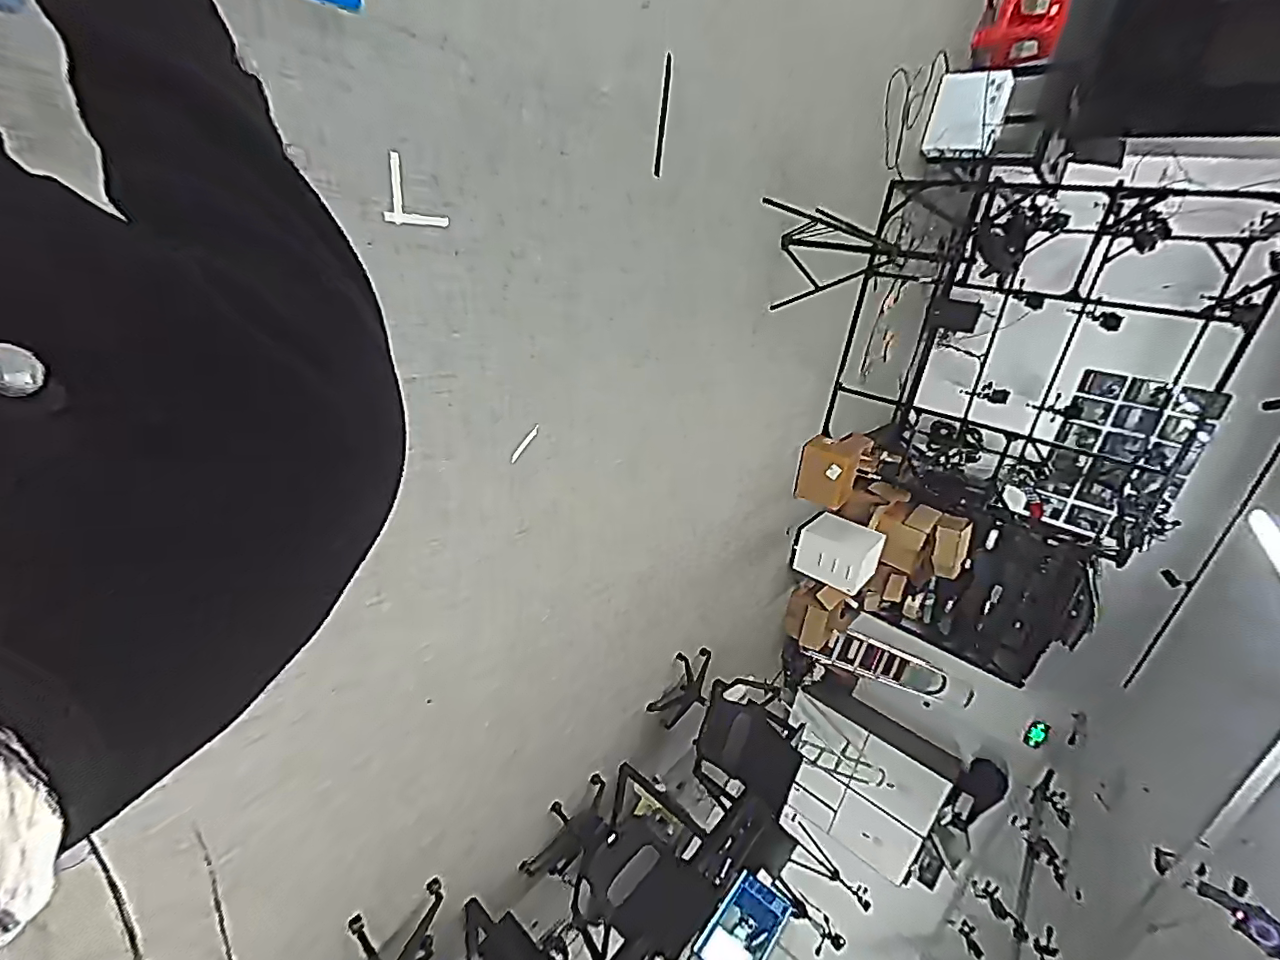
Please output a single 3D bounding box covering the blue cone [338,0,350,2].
[{"bbox_3d":[-0.521,-1.006,0.950,0.193,0.380,0.192,-24,127,-45],"label":"blue cone"}]
